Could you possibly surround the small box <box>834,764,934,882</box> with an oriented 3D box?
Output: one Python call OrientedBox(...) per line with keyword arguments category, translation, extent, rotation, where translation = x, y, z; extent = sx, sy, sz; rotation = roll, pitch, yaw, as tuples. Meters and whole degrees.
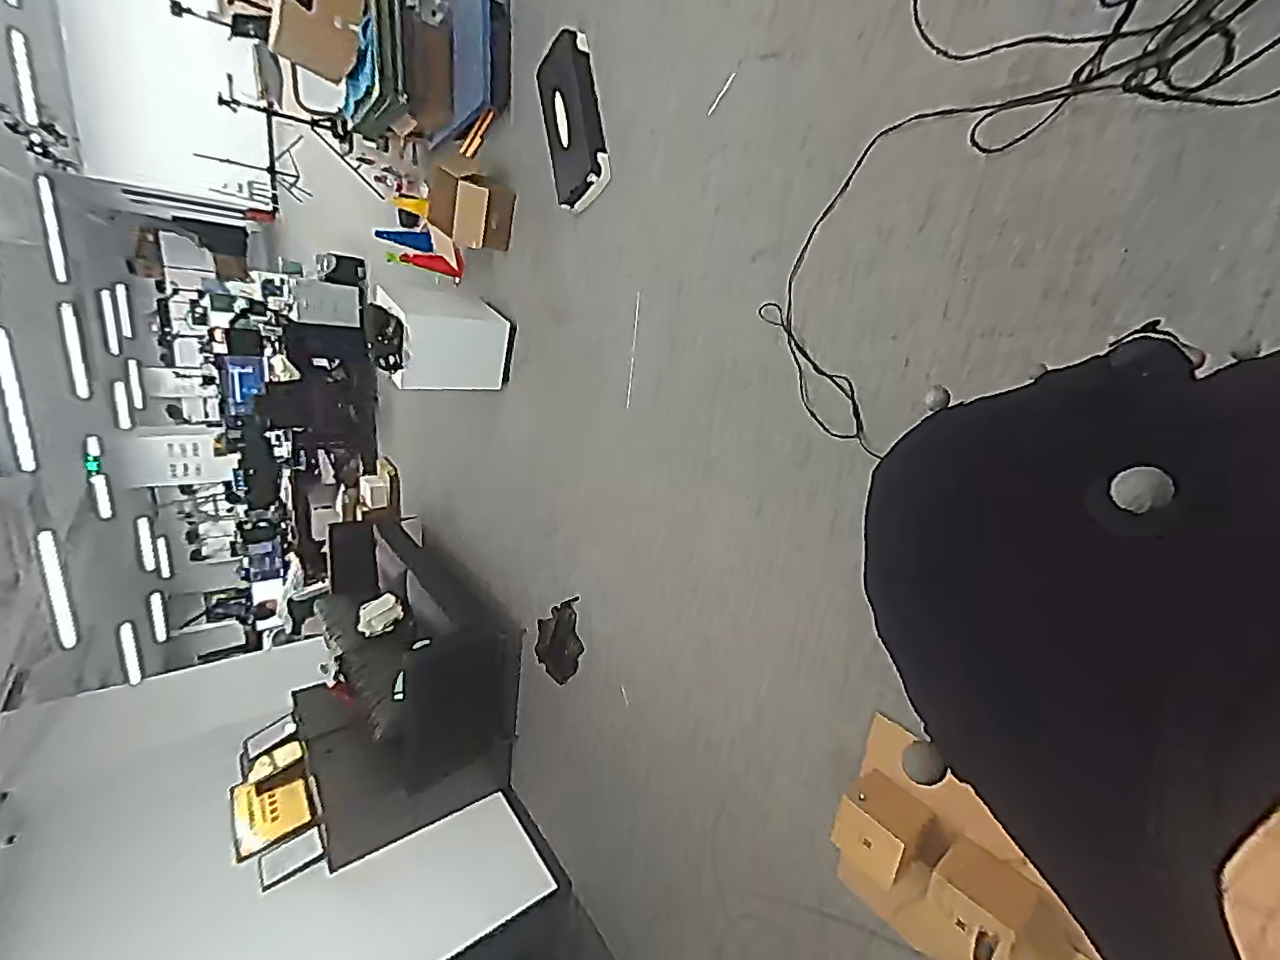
OrientedBox(category="small box", translation=(0.657, 0.908, 1.452), extent=(0.179, 0.176, 0.168), rotation=(25, 116, 48))
